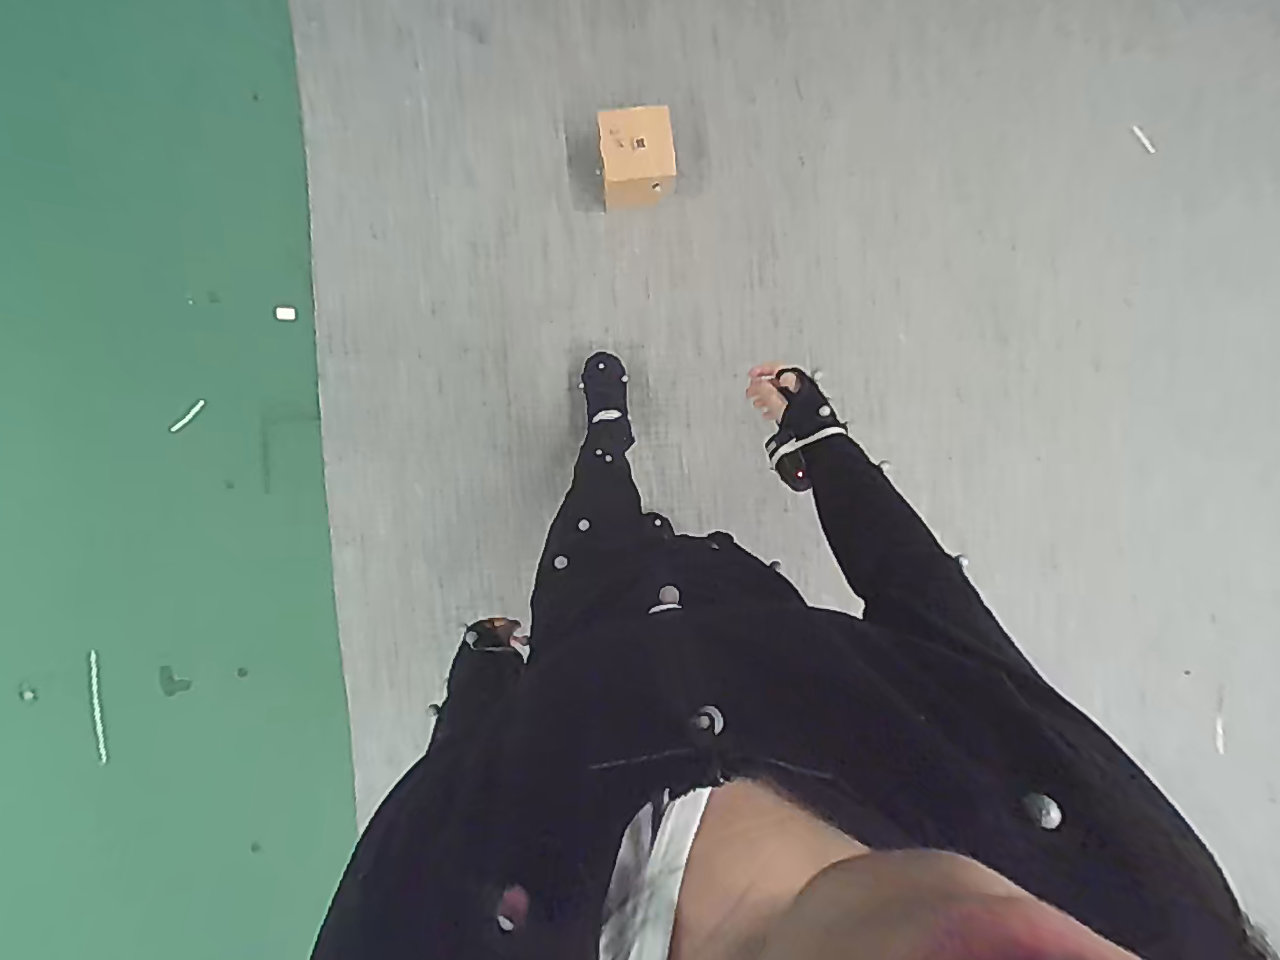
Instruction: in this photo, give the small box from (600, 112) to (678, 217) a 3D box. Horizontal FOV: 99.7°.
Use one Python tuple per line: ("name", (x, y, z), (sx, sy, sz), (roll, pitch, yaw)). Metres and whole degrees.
("small box", (-0.007, -0.791, 1.370), (0.179, 0.176, 0.168), (-7, 93, -2))
